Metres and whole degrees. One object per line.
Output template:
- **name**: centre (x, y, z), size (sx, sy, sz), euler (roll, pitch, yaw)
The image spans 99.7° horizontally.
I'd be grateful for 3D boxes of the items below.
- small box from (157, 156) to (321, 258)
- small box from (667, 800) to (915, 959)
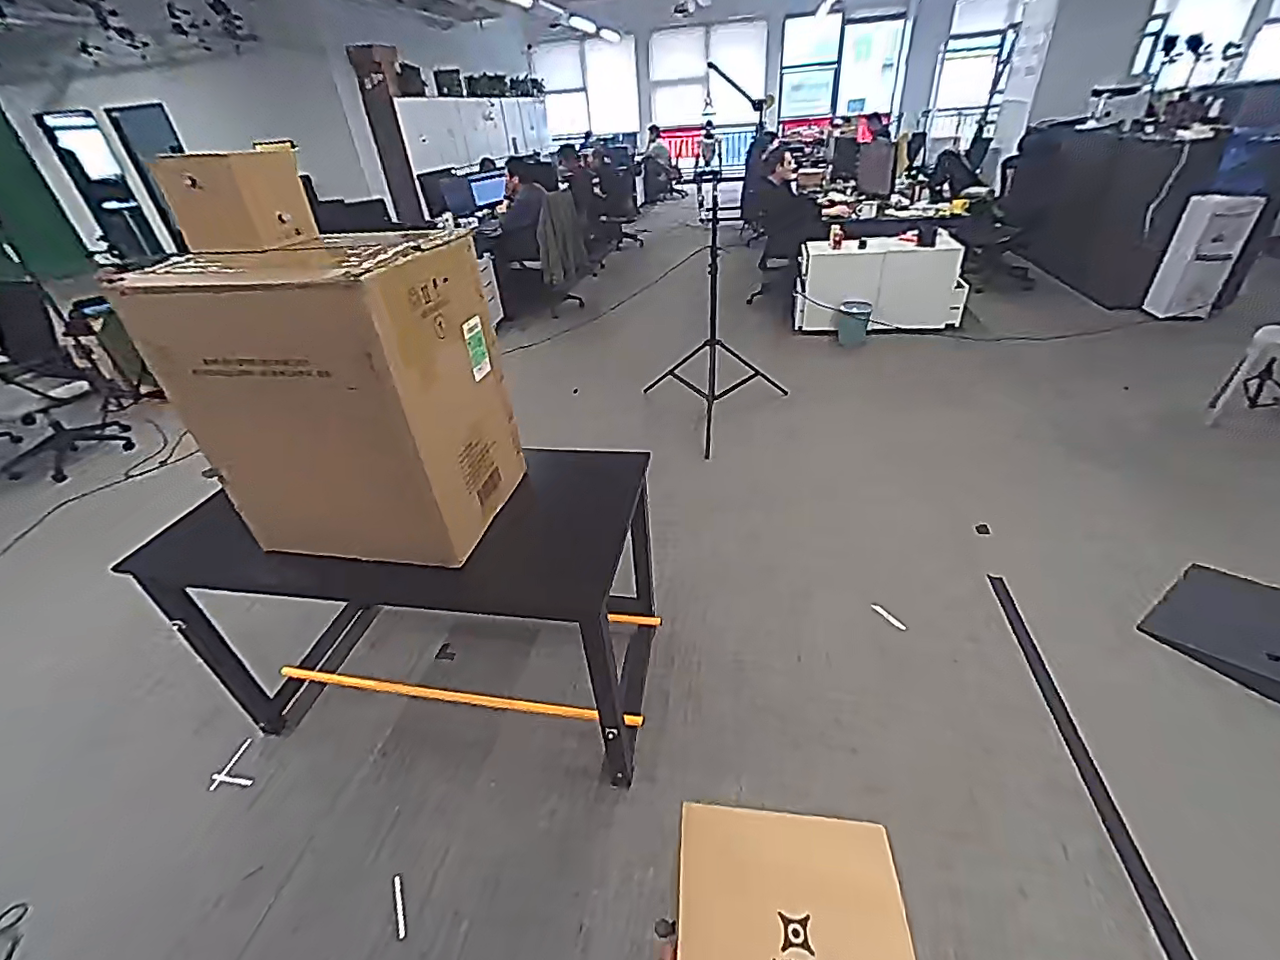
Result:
- **small box**: centre (-0.798, -0.553, 1.096), size (0.179, 0.176, 0.168), euler (4, 33, 11)
- **small box**: centre (0.105, 0.386, 0.422), size (0.168, 0.176, 0.179), euler (4, 38, 4)
